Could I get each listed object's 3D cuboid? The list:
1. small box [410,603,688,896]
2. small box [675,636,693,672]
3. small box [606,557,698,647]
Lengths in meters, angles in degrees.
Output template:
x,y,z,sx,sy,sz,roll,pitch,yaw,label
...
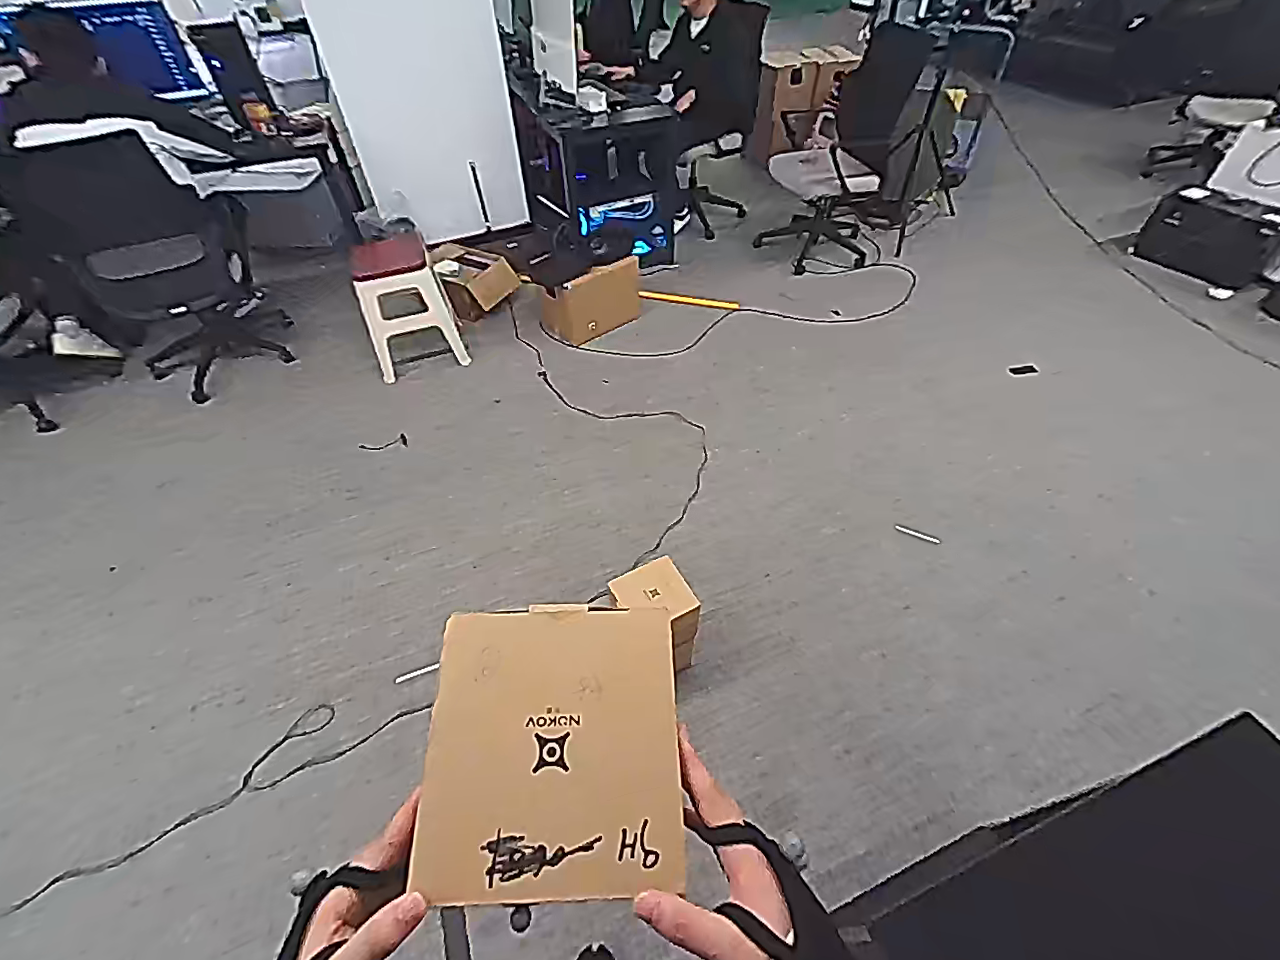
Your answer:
x,y,z,sx,sy,sz,roll,pitch,yaw,label
-0.057,0.211,0.426,0.168,0.176,0.179,-2,57,-2,small box
0.029,0.445,1.491,0.179,0.176,0.168,-21,51,-15,small box
0.030,0.334,1.372,0.179,0.176,0.168,-22,52,-19,small box
